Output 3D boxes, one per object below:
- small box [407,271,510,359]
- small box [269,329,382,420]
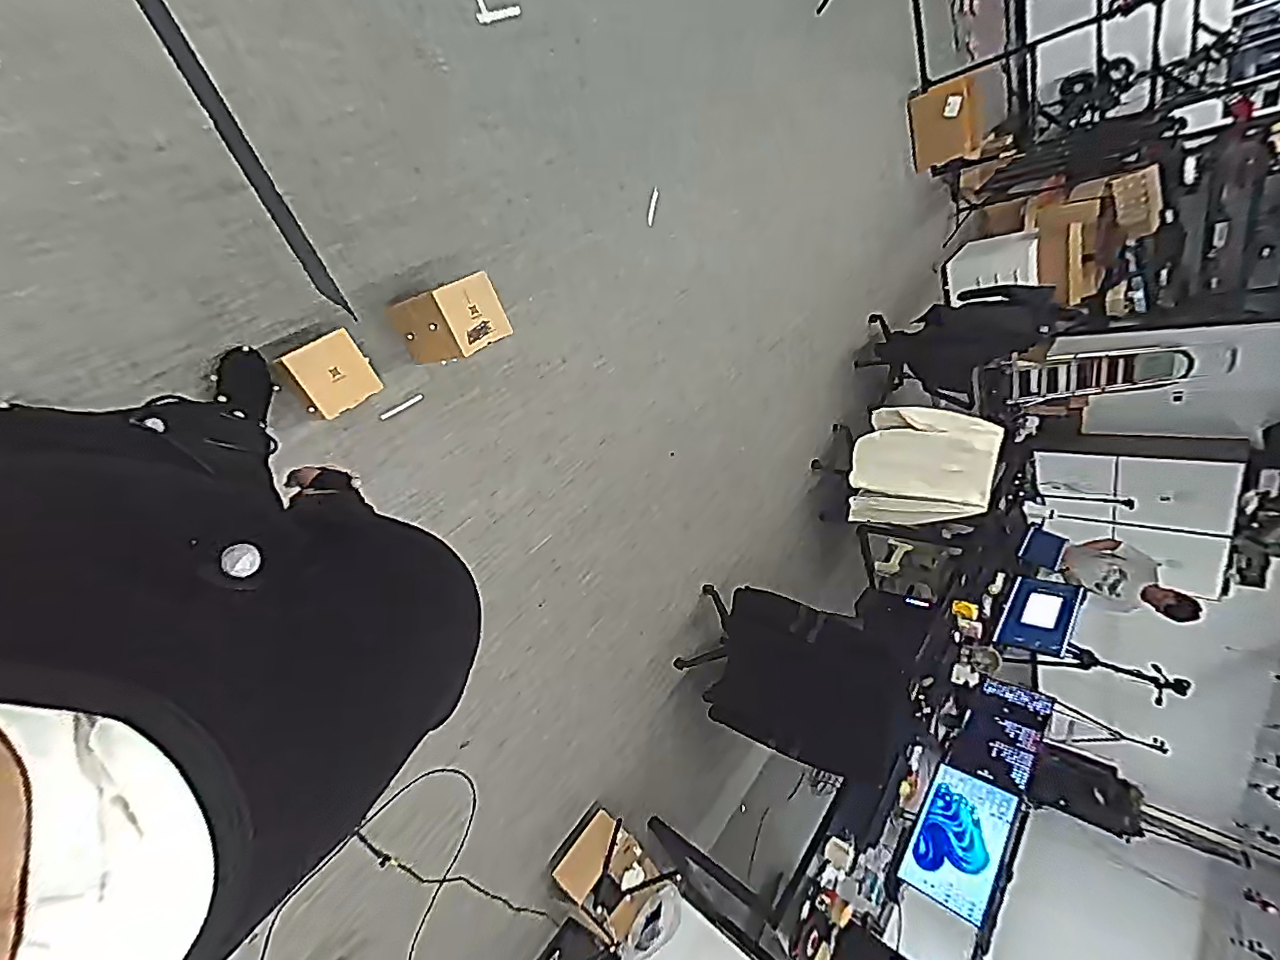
[{"bbox_3d":[-0.489,-0.436,1.451,0.168,0.176,0.179,-41,120,-33],"label":"small box"},{"bbox_3d":[-0.814,-0.267,1.395,0.168,0.176,0.179,-44,123,-30],"label":"small box"}]
